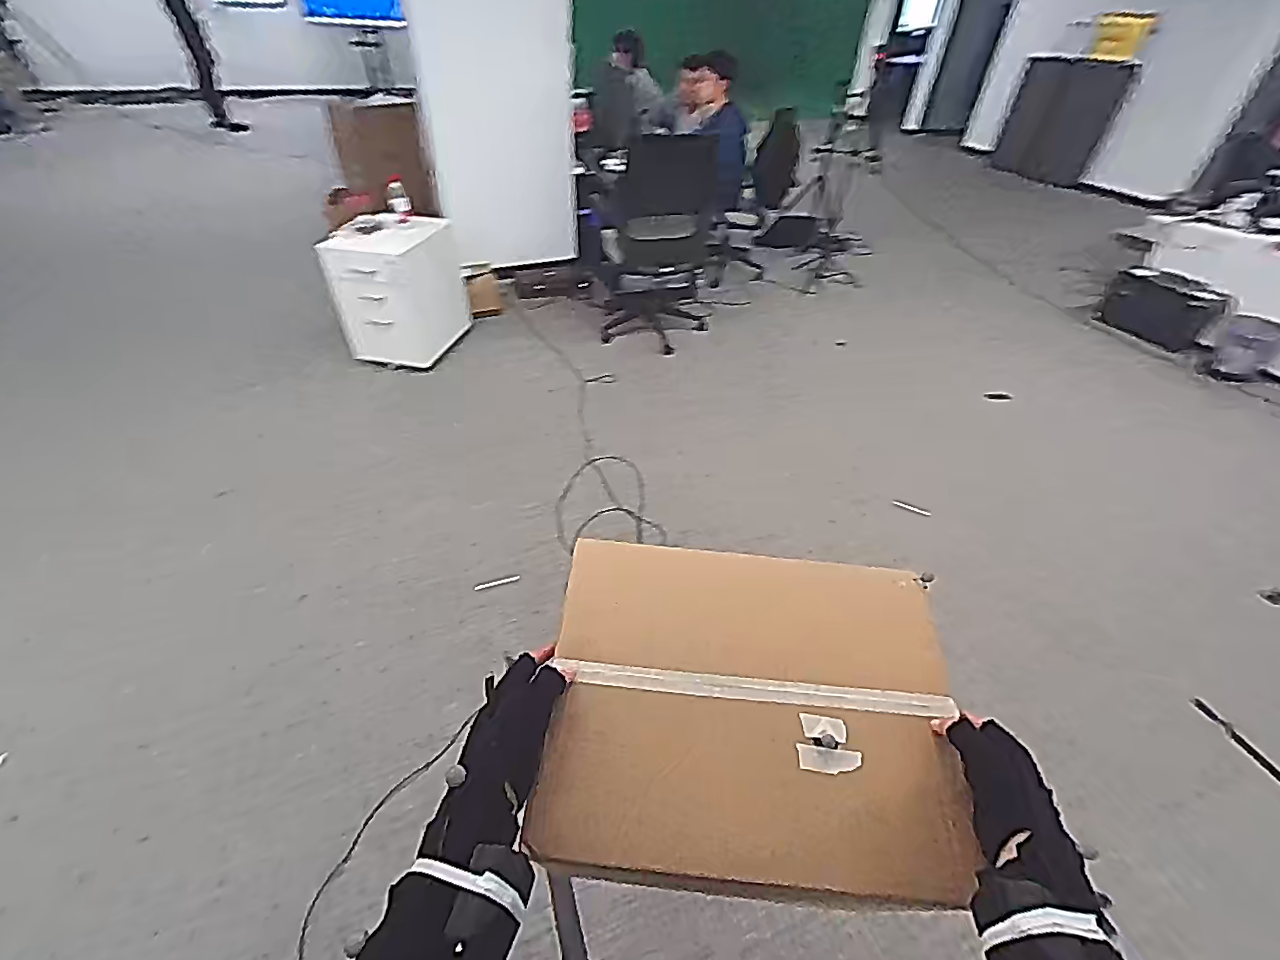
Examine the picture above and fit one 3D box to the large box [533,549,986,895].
[{"bbox_3d":[0.103,0.308,0.672,0.408,0.320,0.320,5,52,0],"label":"large box"}]
